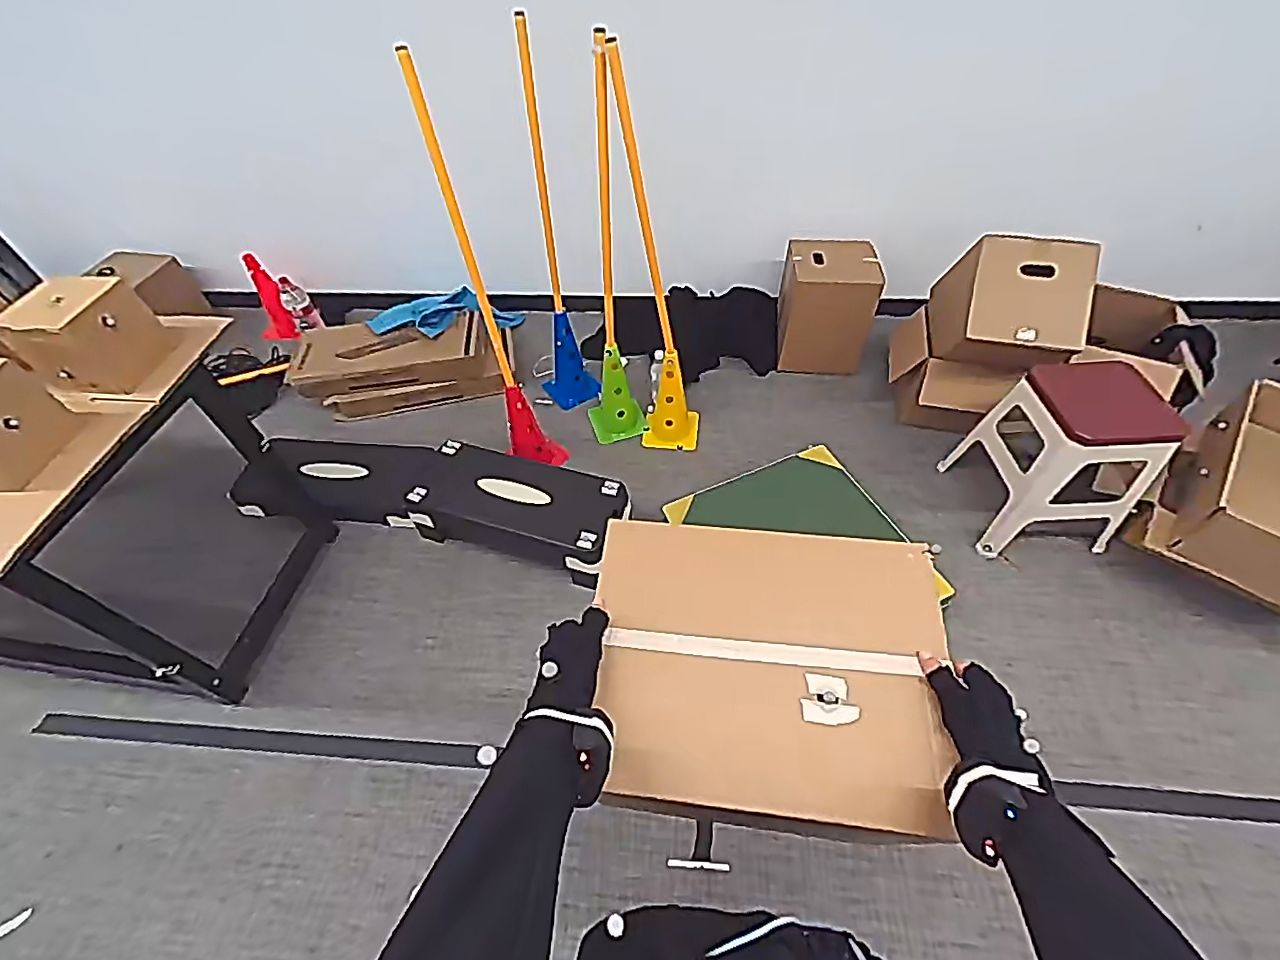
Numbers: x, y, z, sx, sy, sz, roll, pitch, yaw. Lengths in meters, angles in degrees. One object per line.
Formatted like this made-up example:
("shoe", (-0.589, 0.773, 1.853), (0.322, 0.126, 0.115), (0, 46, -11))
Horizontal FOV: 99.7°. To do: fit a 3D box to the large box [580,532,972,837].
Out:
("large box", (0.152, 0.290, 0.752), (0.408, 0.320, 0.320), (4, 57, 6))
